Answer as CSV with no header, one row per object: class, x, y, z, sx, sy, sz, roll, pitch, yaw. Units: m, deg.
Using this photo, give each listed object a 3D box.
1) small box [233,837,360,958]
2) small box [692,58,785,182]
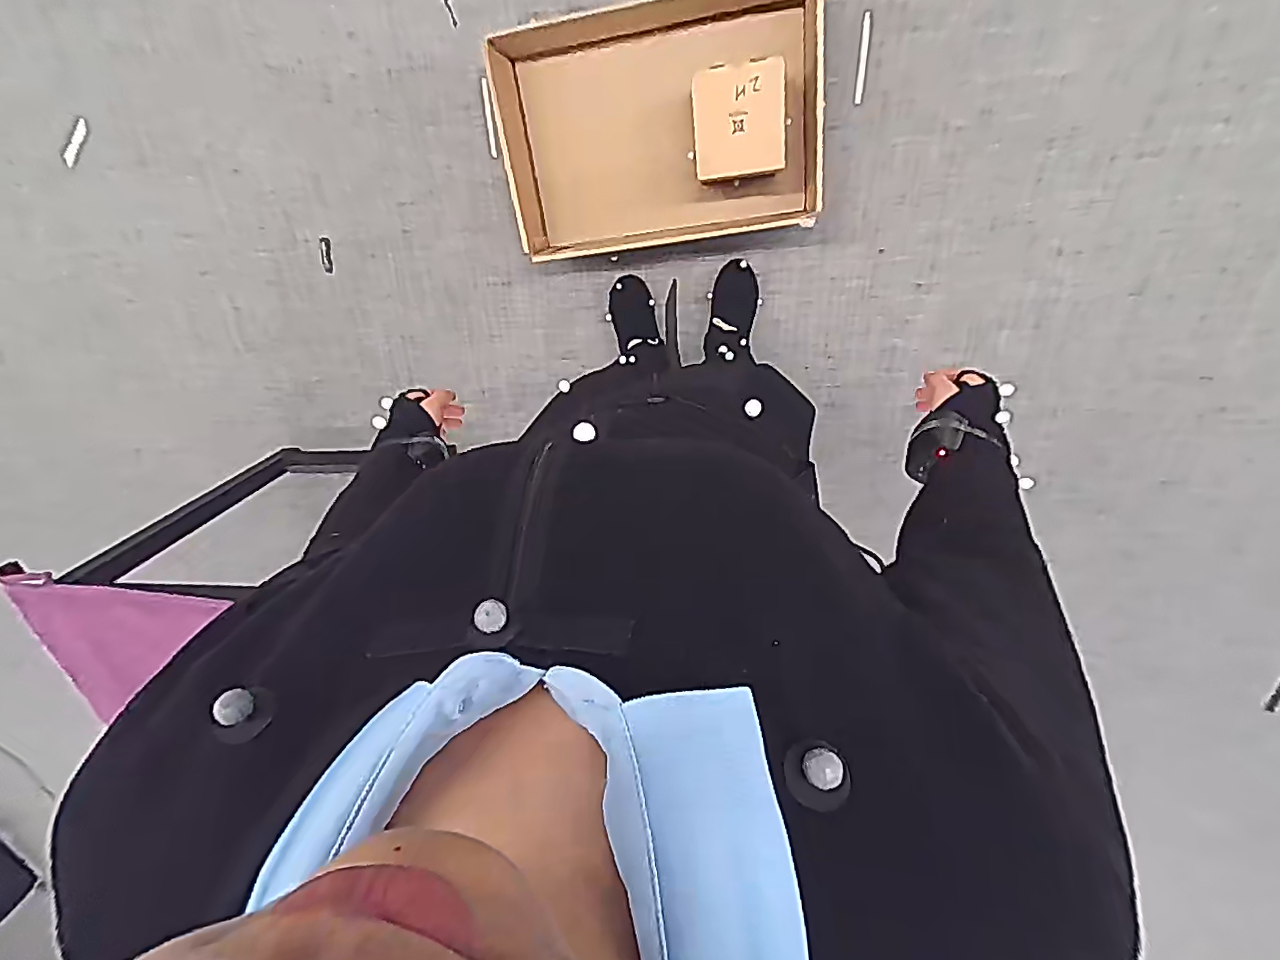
small box,-0.805,0.986,1.289,0.168,0.176,0.179,1,116,7
small box,0.191,-0.691,1.061,0.168,0.176,0.179,-3,116,9
